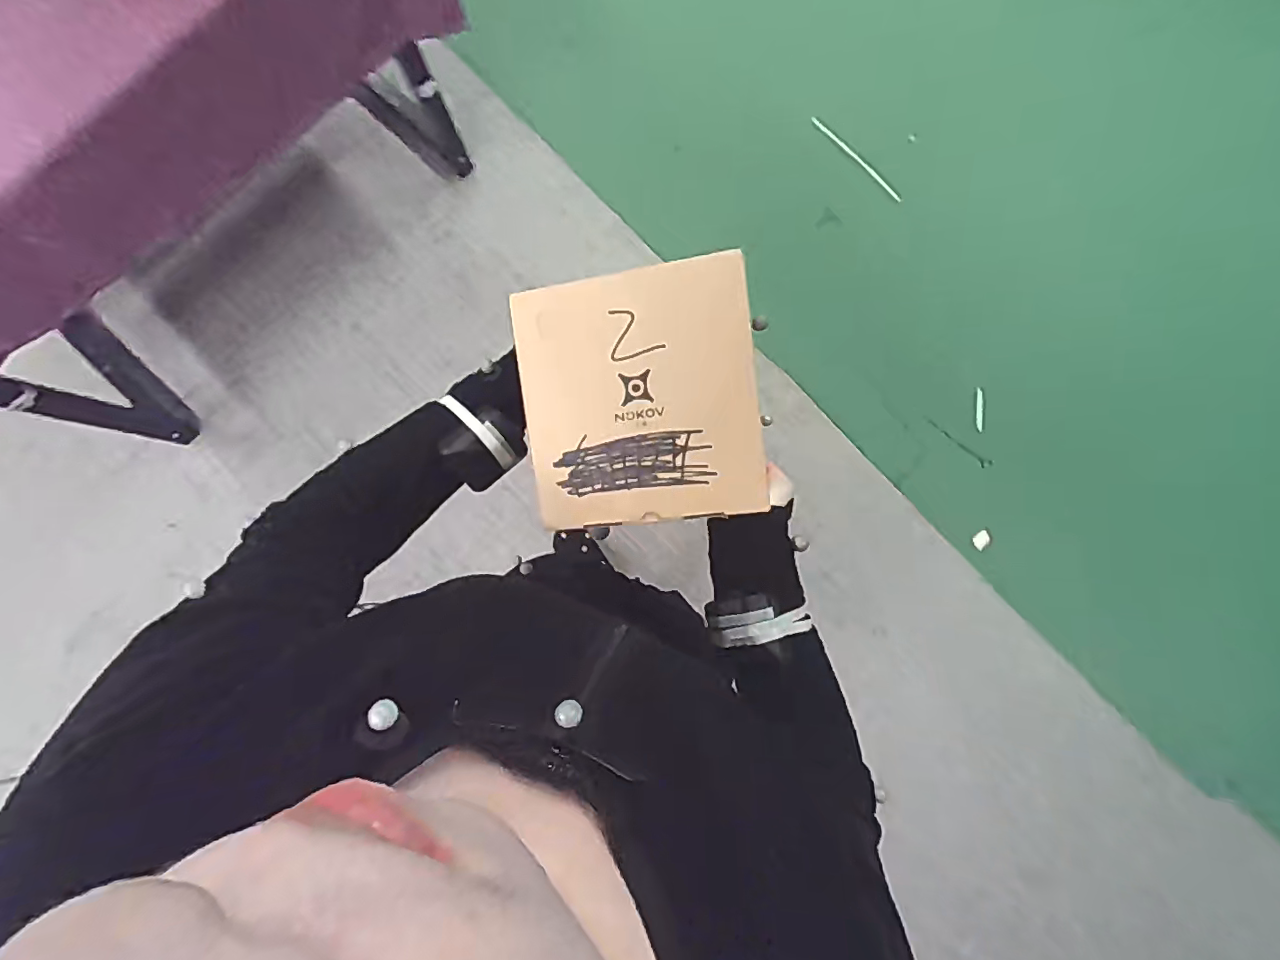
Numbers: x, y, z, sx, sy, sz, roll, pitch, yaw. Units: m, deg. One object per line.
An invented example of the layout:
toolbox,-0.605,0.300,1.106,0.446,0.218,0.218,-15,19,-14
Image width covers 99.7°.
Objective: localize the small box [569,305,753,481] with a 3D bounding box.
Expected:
small box,0.034,-0.092,0.618,0.179,0.176,0.168,-4,97,13
